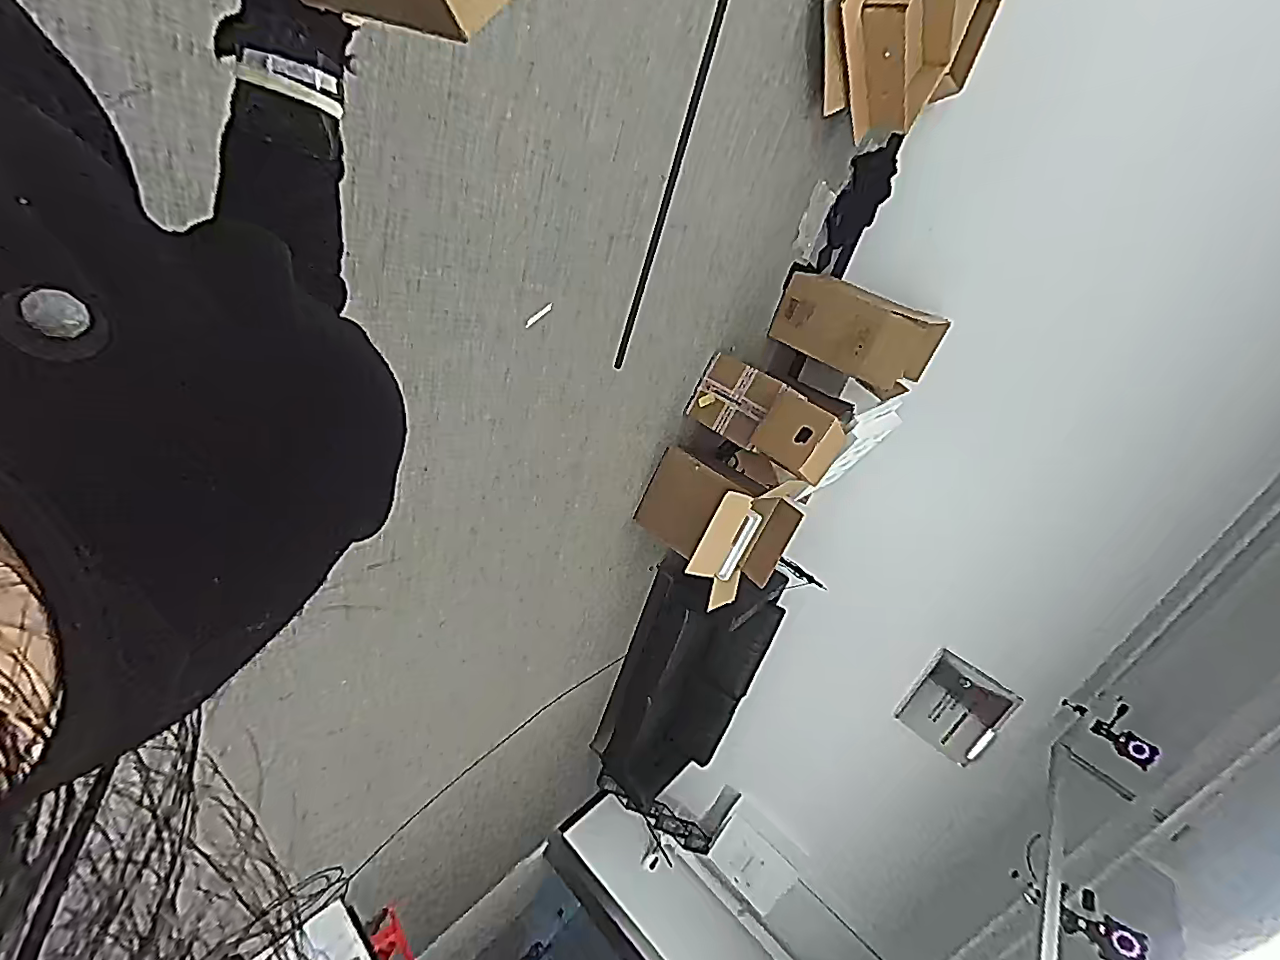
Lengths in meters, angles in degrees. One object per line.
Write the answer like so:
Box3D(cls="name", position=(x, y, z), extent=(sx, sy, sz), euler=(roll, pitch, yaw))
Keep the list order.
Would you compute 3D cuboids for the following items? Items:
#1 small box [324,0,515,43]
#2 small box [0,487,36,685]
Box3D(cls="small box", position=(-0.123, -0.360, 0.255), extent=(0.179, 0.176, 0.168), euler=(-55, 156, -8))
Box3D(cls="small box", position=(-0.627, 0.074, 0.431), extent=(0.168, 0.176, 0.179), euler=(-12, 131, -50))
